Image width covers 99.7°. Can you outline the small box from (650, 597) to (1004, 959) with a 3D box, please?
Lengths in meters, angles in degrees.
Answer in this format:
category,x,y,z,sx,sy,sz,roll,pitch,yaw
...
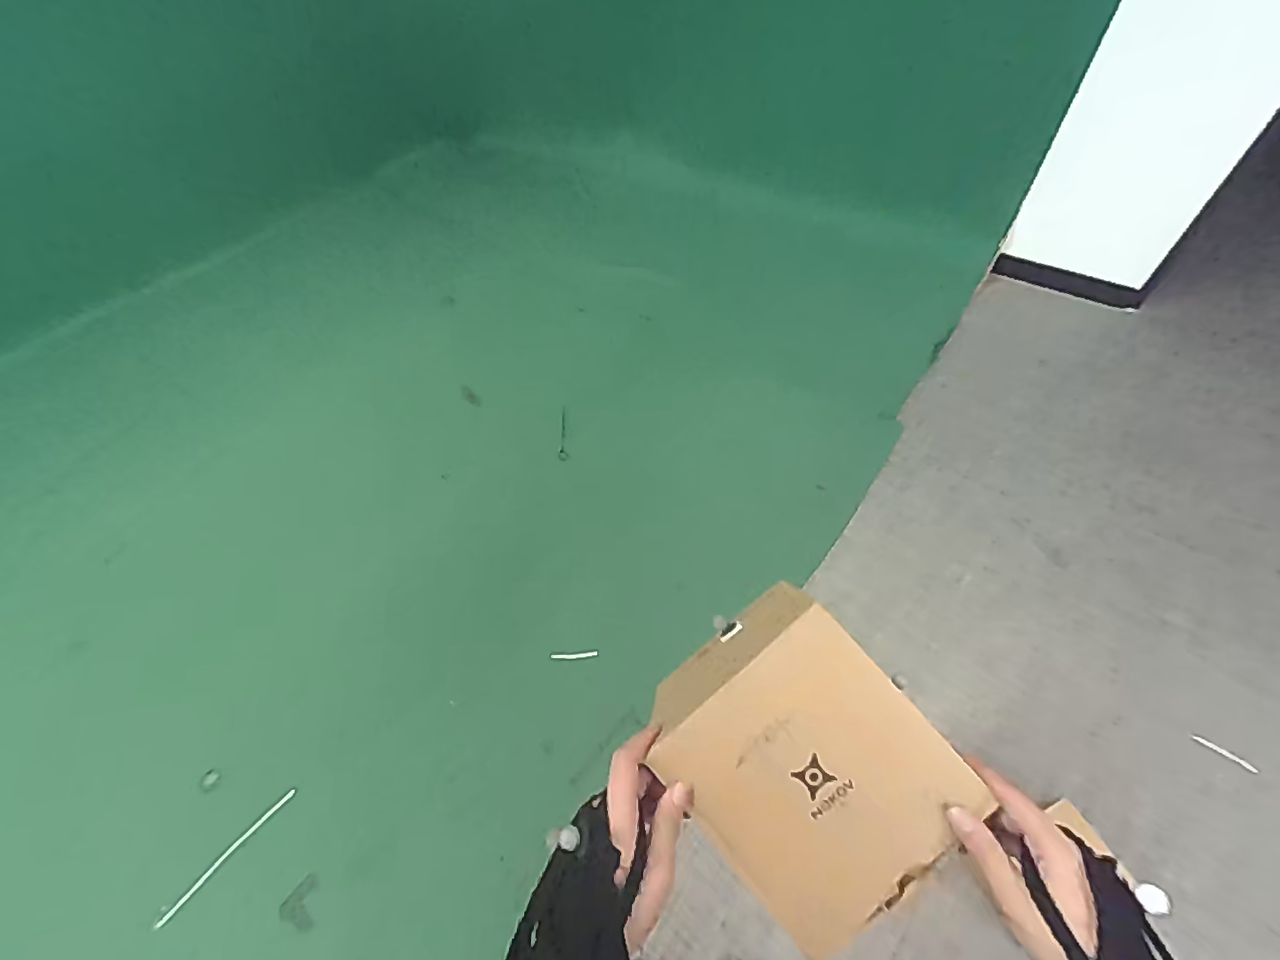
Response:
category,x,y,z,sx,sy,sz,roll,pitch,yaw
small box,0.130,0.216,0.442,0.168,0.176,0.179,-42,82,0
